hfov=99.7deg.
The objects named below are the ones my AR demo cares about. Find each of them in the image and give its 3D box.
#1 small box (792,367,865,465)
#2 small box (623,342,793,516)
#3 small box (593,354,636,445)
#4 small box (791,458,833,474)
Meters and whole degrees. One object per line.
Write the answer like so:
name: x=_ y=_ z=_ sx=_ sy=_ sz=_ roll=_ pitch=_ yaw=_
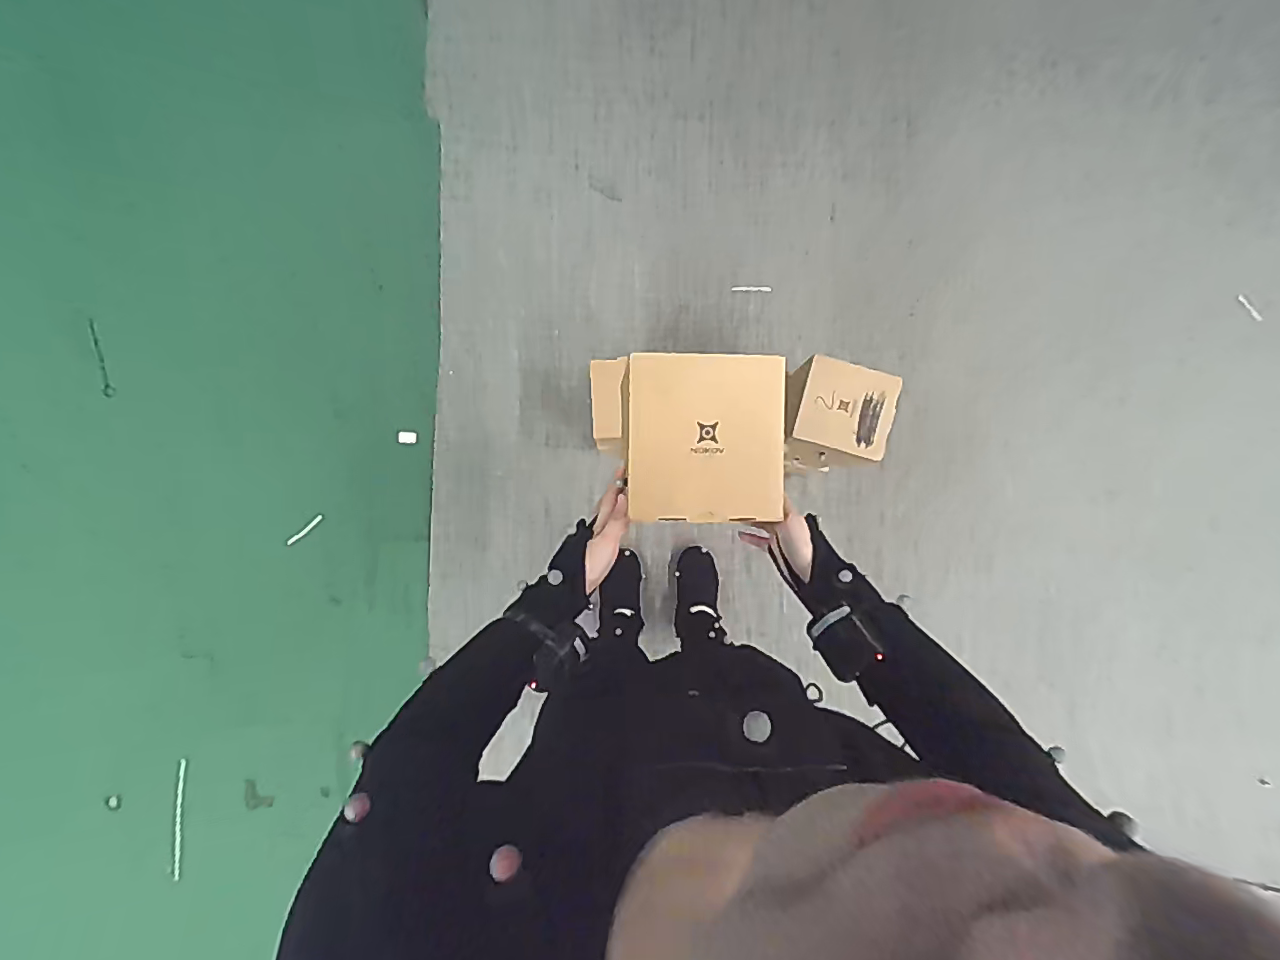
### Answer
small box: x=0.384 y=-0.138 z=1.236 sx=0.168 sy=0.176 sz=0.179 roll=14 pitch=88 yaw=0
small box: x=0.067 y=-0.051 z=0.624 sx=0.168 sy=0.176 sz=0.179 roll=0 pitch=91 yaw=-5
small box: x=-0.017 y=-0.179 z=1.236 sx=0.168 sy=0.176 sz=0.179 roll=-4 pitch=87 yaw=0
small box: x=0.401 y=-0.117 z=1.399 sx=0.168 sy=0.176 sz=0.179 roll=10 pitch=88 yaw=0
